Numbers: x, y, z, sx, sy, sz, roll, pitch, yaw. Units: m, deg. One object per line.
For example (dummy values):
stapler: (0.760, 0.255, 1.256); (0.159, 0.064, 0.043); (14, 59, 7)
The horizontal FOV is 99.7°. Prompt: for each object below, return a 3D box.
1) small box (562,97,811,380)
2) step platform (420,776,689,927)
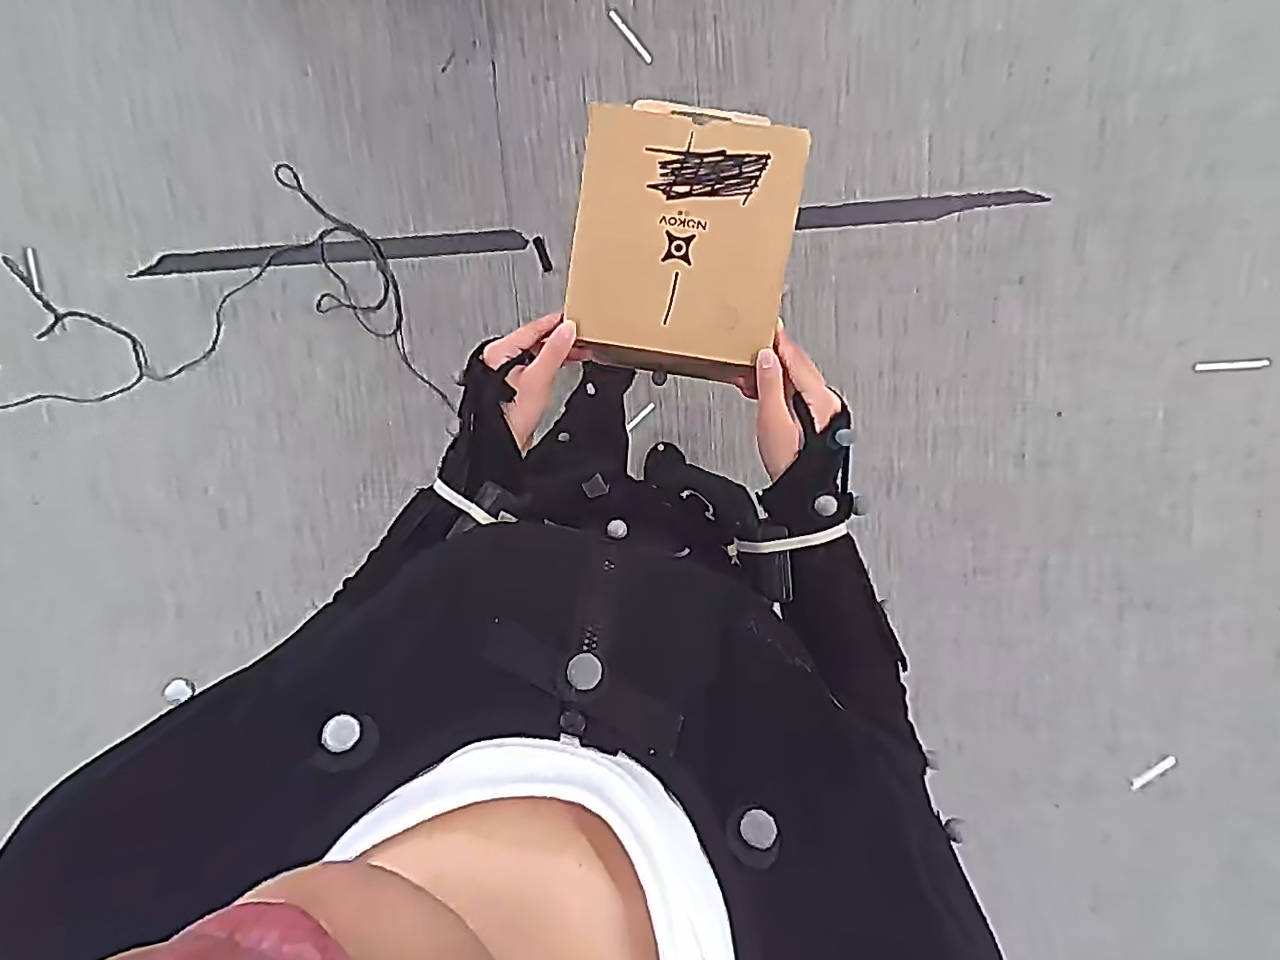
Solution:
small box: (0.038, -0.197, 0.490); (0.168, 0.176, 0.179); (10, 96, 3)
step platform: (-0.214, 0.970, 1.414); (0.684, 0.204, 0.286); (-3, 98, 4)
